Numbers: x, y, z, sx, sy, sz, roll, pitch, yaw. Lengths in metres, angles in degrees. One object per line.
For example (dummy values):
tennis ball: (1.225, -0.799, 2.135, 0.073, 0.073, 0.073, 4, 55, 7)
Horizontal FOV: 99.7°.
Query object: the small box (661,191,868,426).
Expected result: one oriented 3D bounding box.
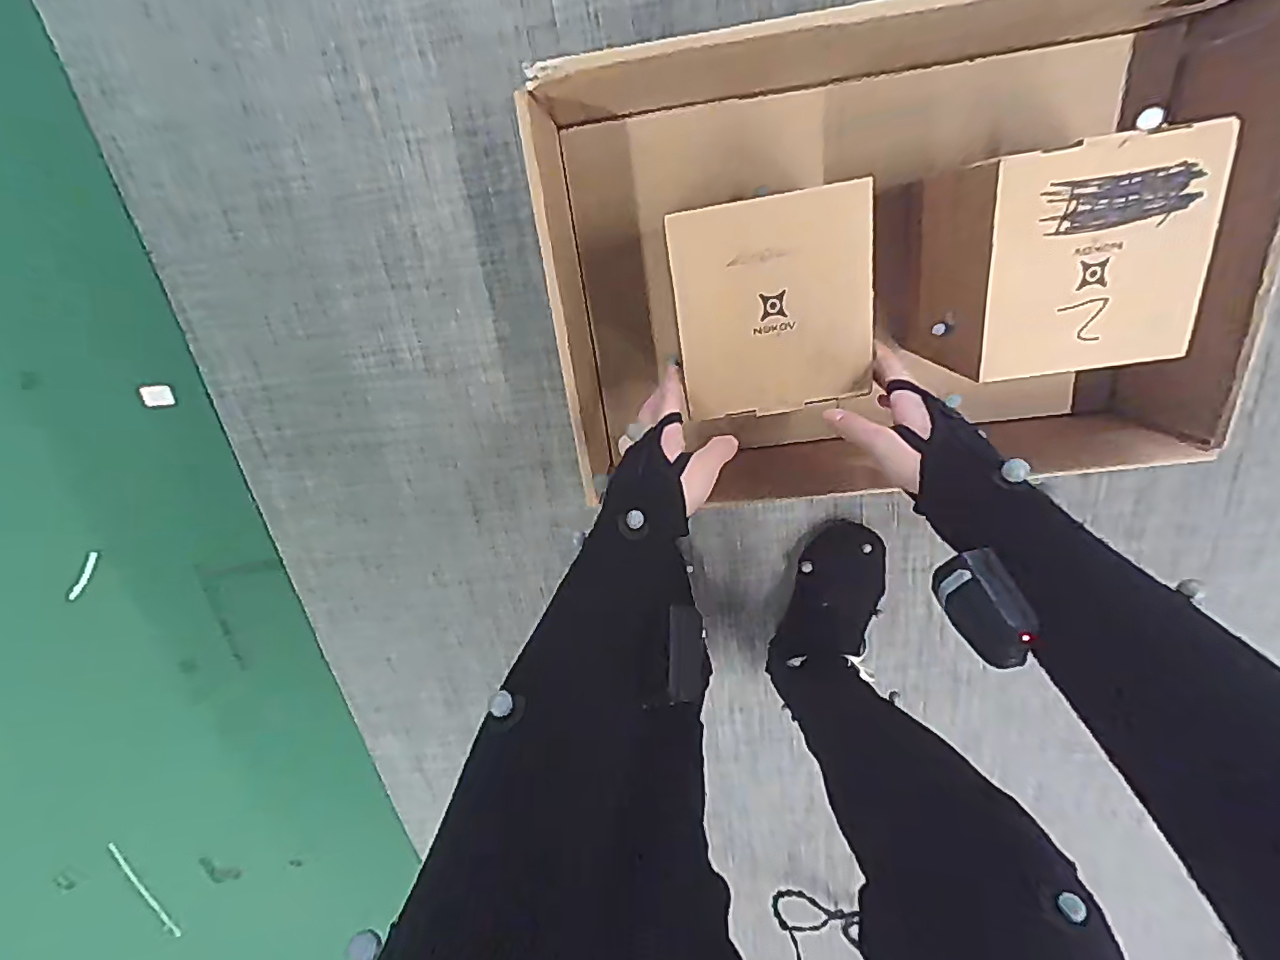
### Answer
small box: (0.113, -0.167, 0.534, 0.168, 0.176, 0.179, -8, 110, 5)
